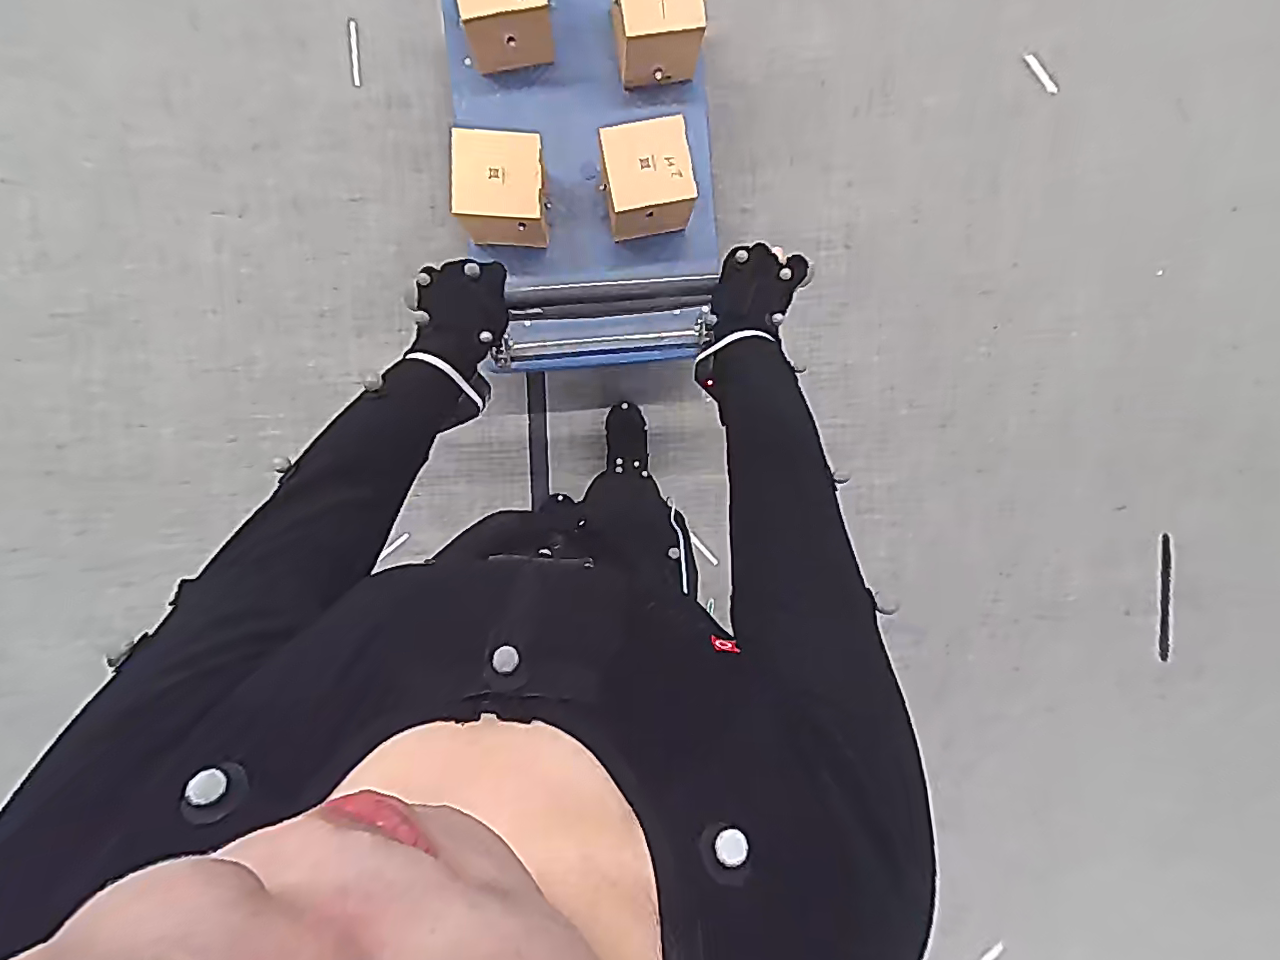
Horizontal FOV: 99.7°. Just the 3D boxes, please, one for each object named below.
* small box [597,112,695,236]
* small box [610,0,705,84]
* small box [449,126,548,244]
[{"bbox_3d":[0.010,-0.646,1.162,0.179,0.176,0.168,-11,96,-2],"label":"small box"},{"bbox_3d":[0.030,-0.982,1.134,0.168,0.176,0.179,-10,96,-3],"label":"small box"},{"bbox_3d":[-0.293,-0.616,1.146,0.179,0.176,0.168,1,94,-5],"label":"small box"}]
